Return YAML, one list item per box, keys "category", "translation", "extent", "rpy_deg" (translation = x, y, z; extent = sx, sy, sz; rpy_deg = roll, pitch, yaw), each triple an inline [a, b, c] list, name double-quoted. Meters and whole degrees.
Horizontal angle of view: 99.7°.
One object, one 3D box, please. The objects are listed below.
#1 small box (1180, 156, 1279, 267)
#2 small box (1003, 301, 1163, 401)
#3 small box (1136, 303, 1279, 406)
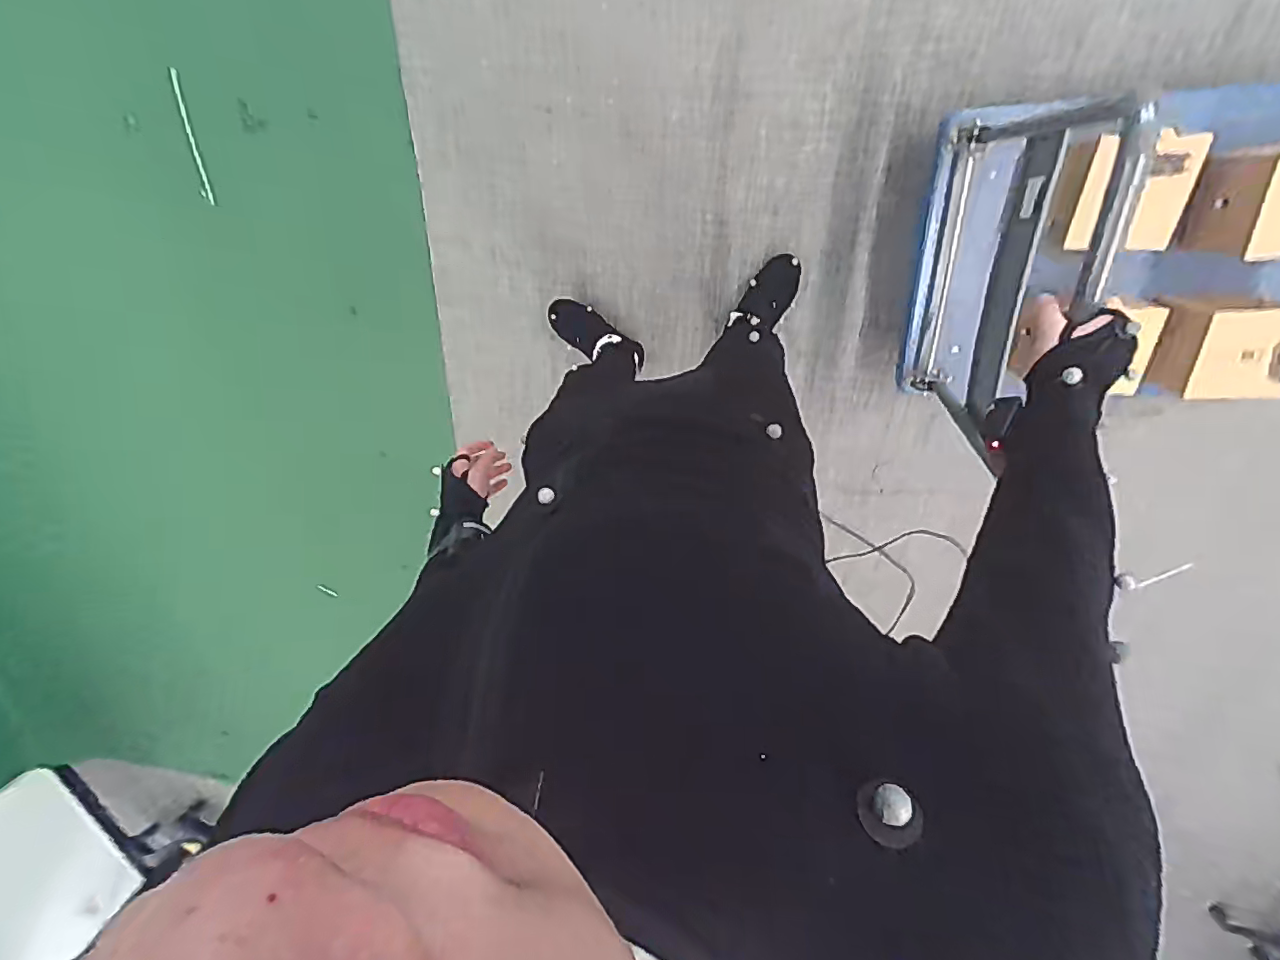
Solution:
- category: "small box"
  translation: [1.128, -0.478, 0.955]
  extent: [0.179, 0.176, 0.168]
  rpy_deg: [-1, 118, 12]
- category: "small box"
  translation: [0.896, -0.271, 1.115]
  extent: [0.179, 0.176, 0.168]
  rpy_deg: [4, 118, 10]
- category: "small box"
  translation: [1.141, -0.252, 1.073]
  extent: [0.179, 0.176, 0.168]
  rpy_deg: [1, 117, 12]
